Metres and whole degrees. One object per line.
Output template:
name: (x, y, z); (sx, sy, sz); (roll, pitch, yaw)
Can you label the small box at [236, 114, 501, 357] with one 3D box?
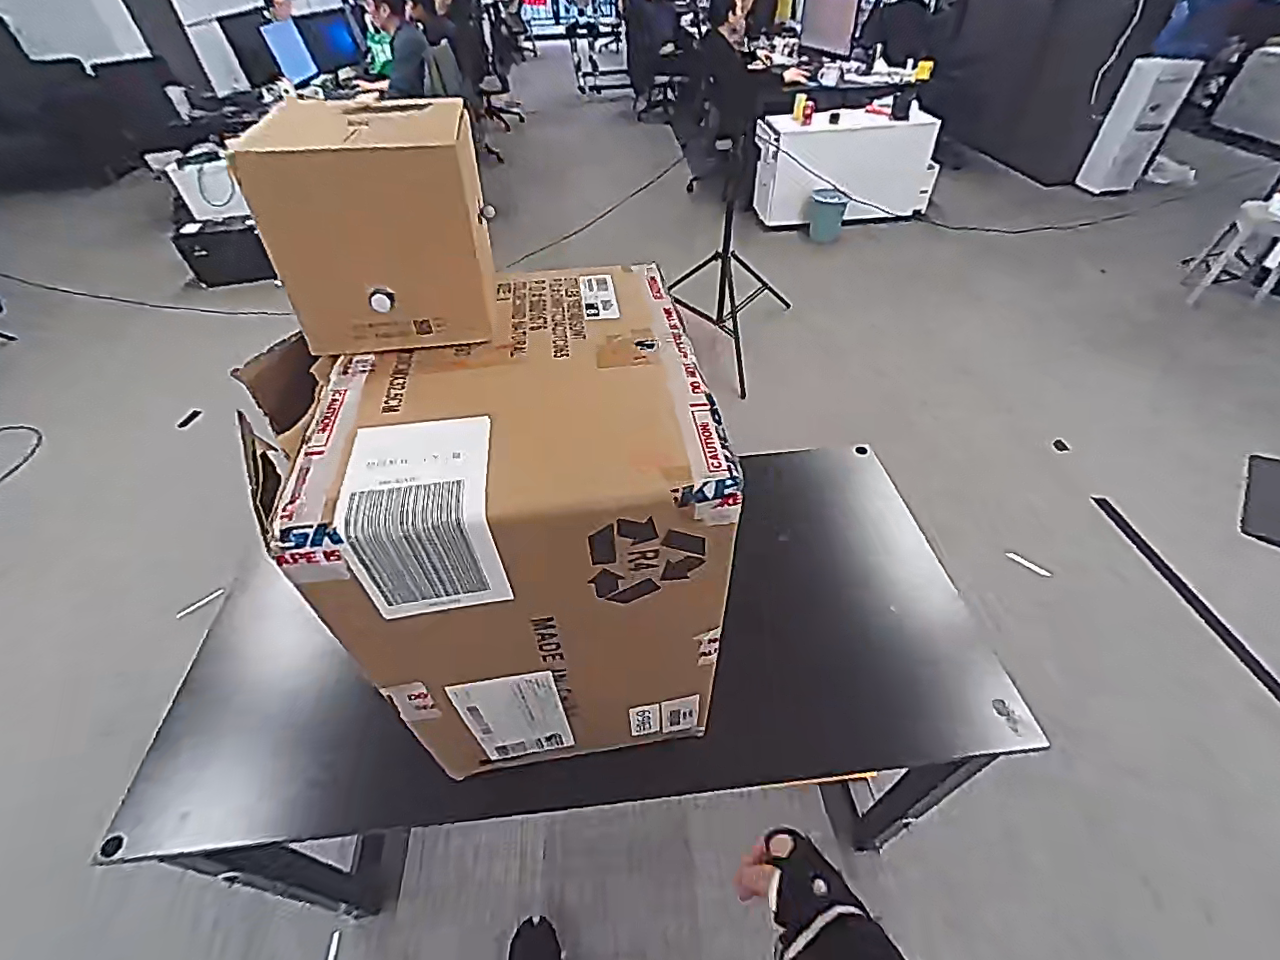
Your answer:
small box: (-0.231, -0.236, 0.518); (0.168, 0.176, 0.179); (-7, 43, -8)
